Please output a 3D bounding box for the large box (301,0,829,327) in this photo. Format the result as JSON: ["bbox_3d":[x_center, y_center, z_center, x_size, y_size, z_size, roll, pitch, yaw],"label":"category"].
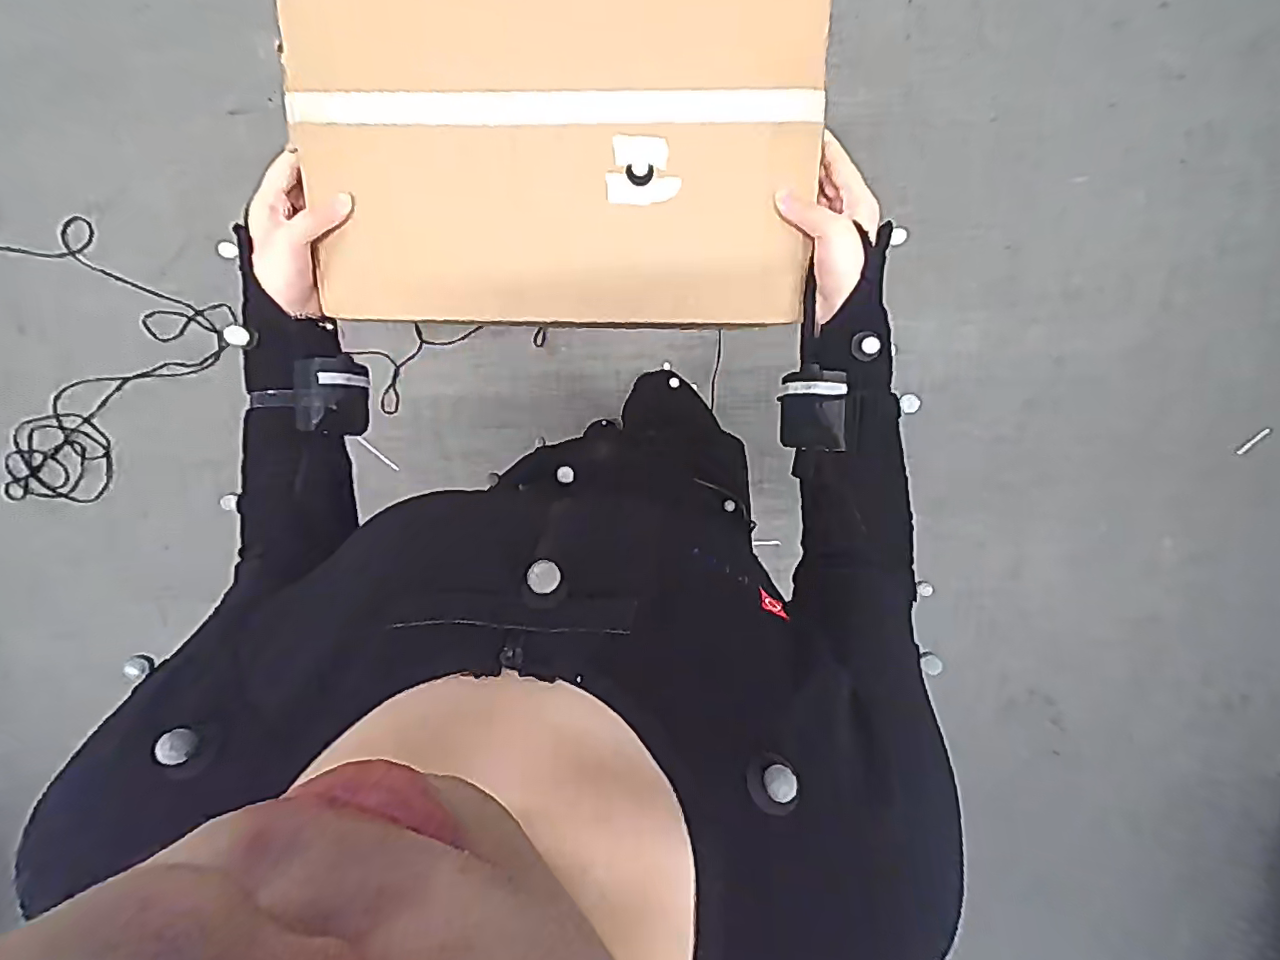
[{"bbox_3d":[-0.058,-0.327,0.567,0.408,0.320,0.320,1,105,0],"label":"large box"}]
